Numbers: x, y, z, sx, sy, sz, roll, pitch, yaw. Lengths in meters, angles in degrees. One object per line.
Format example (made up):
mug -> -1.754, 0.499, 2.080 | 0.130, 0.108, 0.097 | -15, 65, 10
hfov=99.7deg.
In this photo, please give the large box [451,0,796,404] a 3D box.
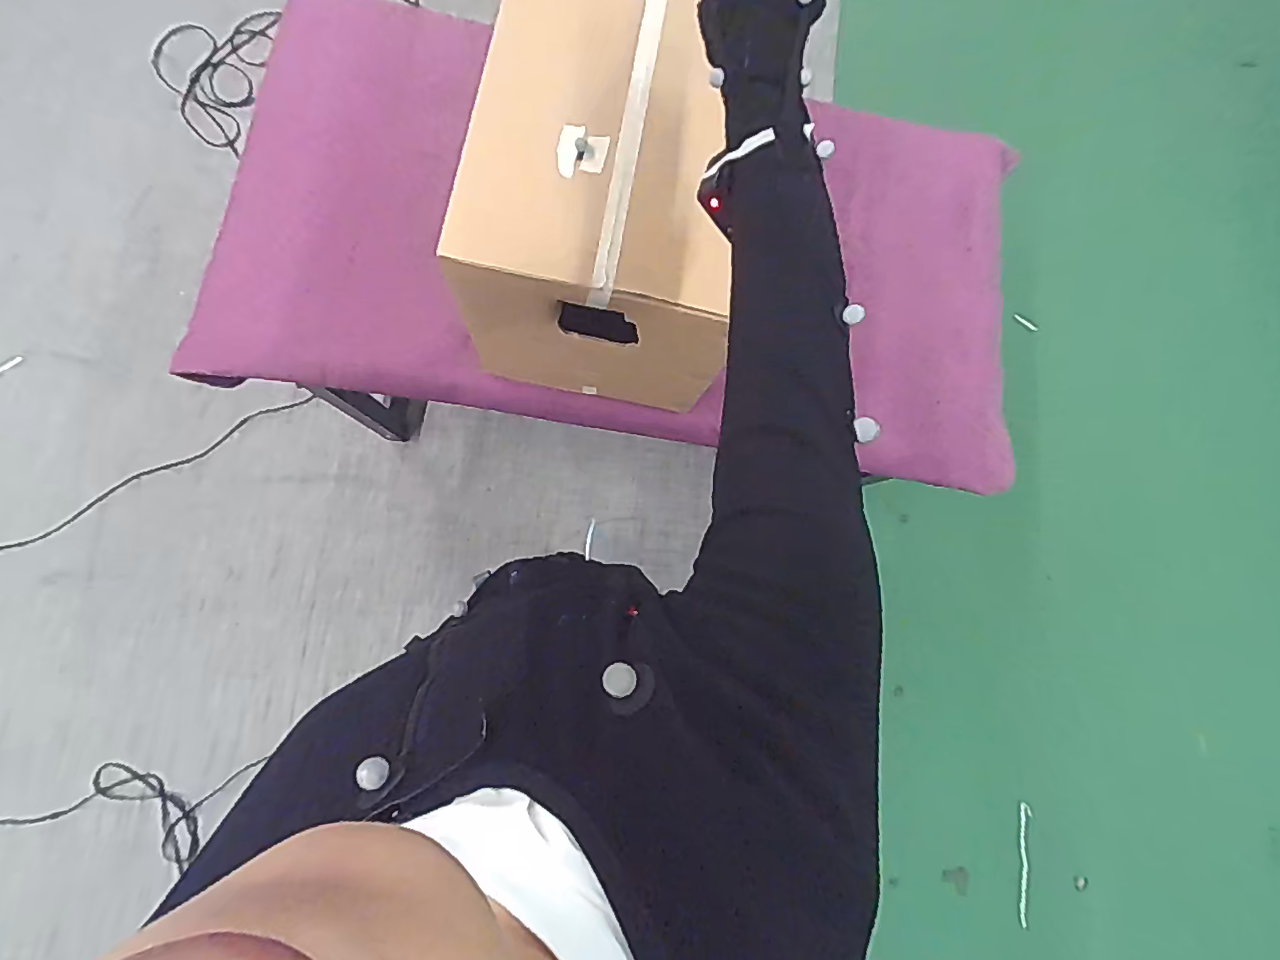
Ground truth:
large box -> -0.023, -0.356, 0.709 | 0.320, 0.320, 0.408 | 11, 81, -5
